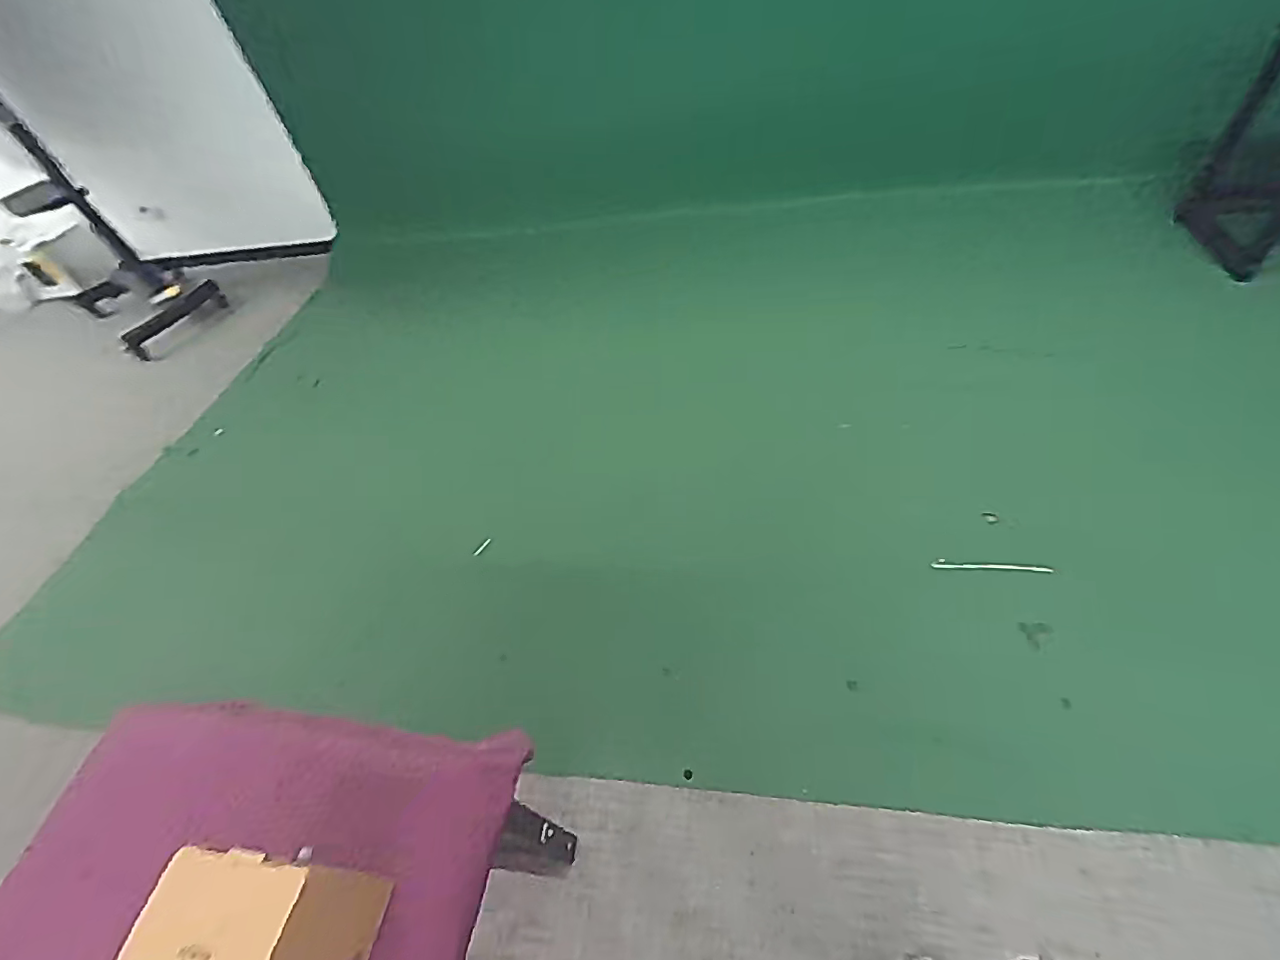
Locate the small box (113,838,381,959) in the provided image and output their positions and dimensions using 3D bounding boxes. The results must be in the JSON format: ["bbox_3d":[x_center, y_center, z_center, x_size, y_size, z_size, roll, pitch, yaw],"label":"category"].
[{"bbox_3d":[-0.407,0.503,0.566,0.168,0.176,0.179,-1,49,14],"label":"small box"}]
